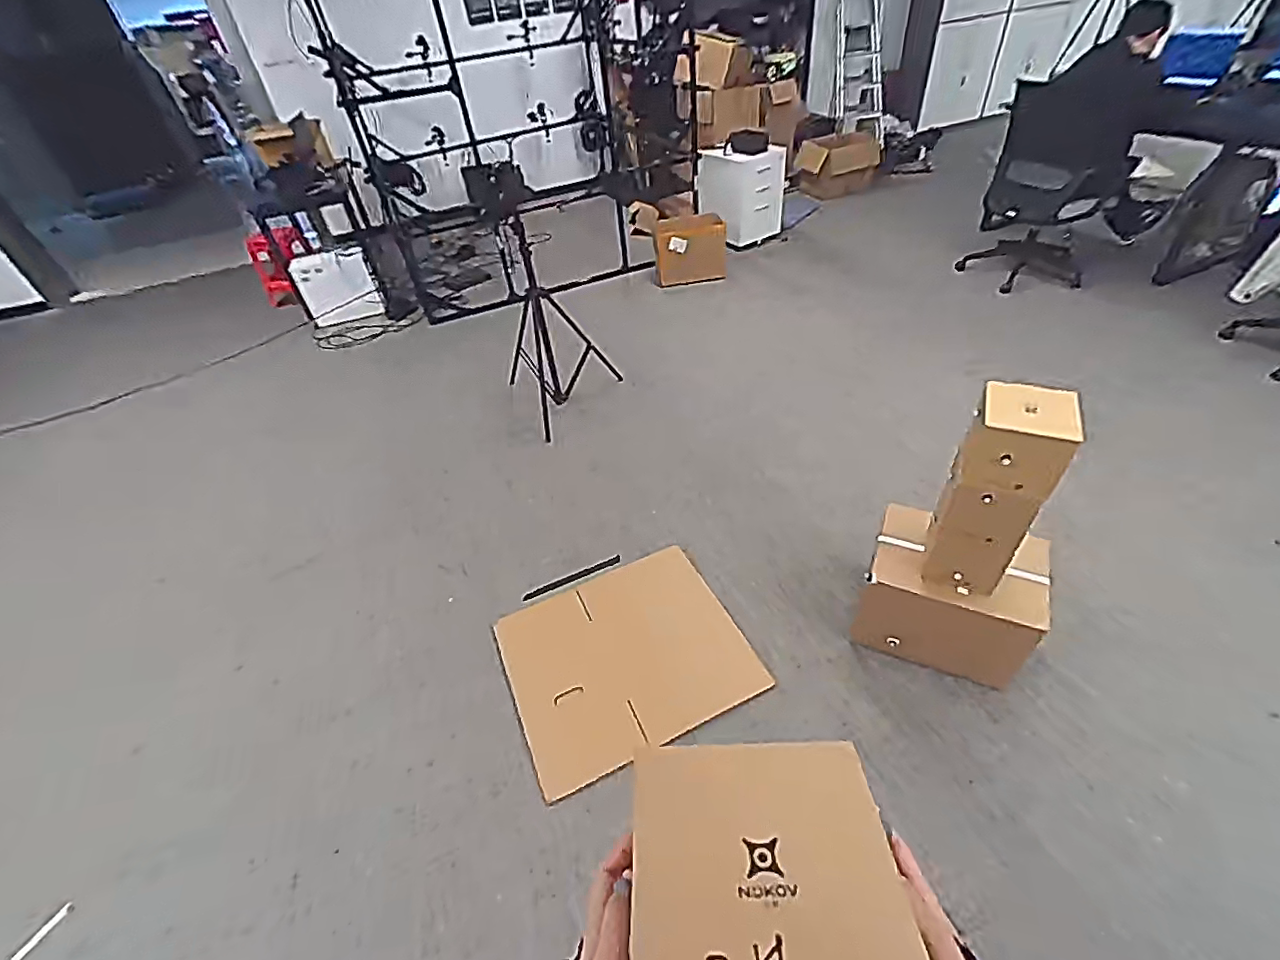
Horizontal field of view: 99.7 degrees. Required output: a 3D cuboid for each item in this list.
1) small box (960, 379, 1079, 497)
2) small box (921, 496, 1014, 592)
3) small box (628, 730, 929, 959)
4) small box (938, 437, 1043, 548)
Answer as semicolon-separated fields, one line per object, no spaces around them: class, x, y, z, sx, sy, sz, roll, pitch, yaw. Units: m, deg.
small box;0.801;-0.089;1.154;0.168;0.176;0.179;14;46;22
small box;0.829;0.150;1.375;0.168;0.176;0.179;14;47;22
small box;0.081;0.305;0.378;0.168;0.176;0.179;-4;31;3
small box;0.814;0.028;1.267;0.168;0.176;0.179;14;46;23
